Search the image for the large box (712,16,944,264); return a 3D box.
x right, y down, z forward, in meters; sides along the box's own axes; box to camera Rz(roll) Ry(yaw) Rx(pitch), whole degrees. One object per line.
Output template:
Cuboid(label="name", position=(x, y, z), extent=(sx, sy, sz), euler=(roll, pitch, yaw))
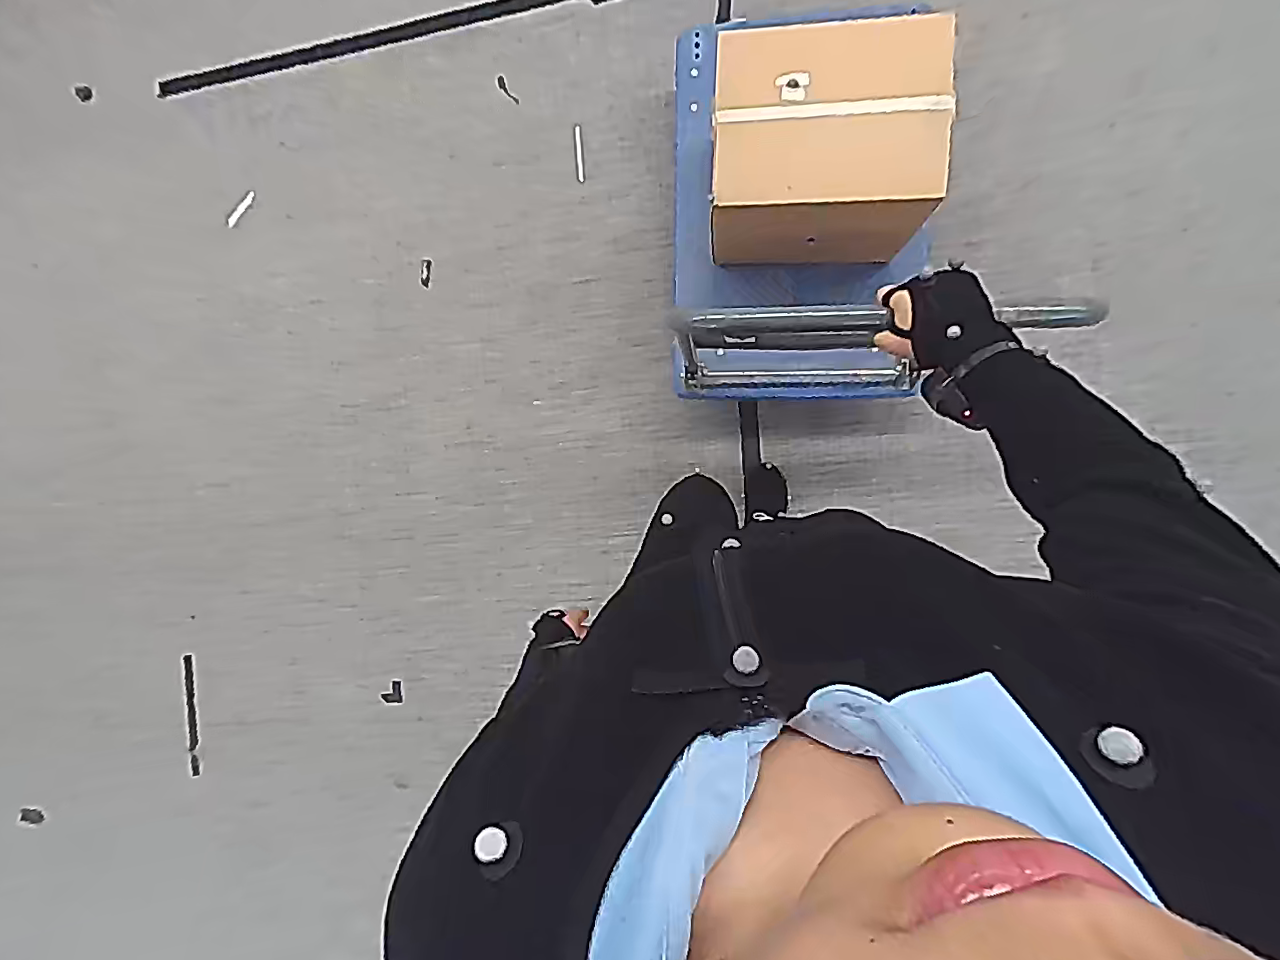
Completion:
Cuboid(label="large box", position=(0.359, -0.662, 1.122), extent=(0.408, 0.320, 0.320), euler=(1, 92, 9))
